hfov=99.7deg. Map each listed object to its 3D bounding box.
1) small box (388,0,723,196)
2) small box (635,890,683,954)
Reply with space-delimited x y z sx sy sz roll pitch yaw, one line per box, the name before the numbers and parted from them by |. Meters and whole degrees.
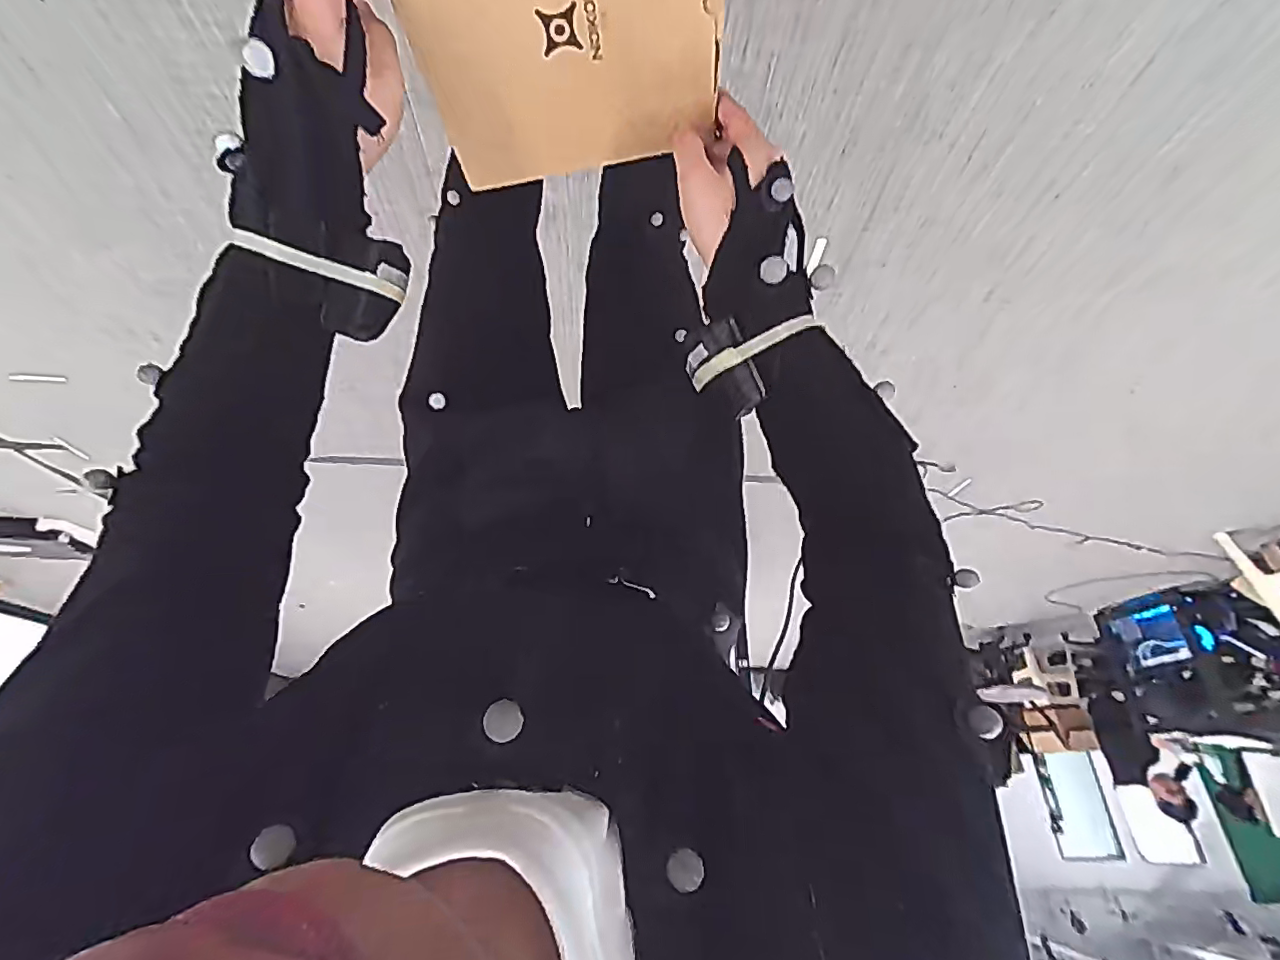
small box | -0.052 -0.317 0.334 0.179 0.176 0.168 -12 155 1
small box | 0.071 1.713 2.104 0.179 0.176 0.168 2 152 -1
